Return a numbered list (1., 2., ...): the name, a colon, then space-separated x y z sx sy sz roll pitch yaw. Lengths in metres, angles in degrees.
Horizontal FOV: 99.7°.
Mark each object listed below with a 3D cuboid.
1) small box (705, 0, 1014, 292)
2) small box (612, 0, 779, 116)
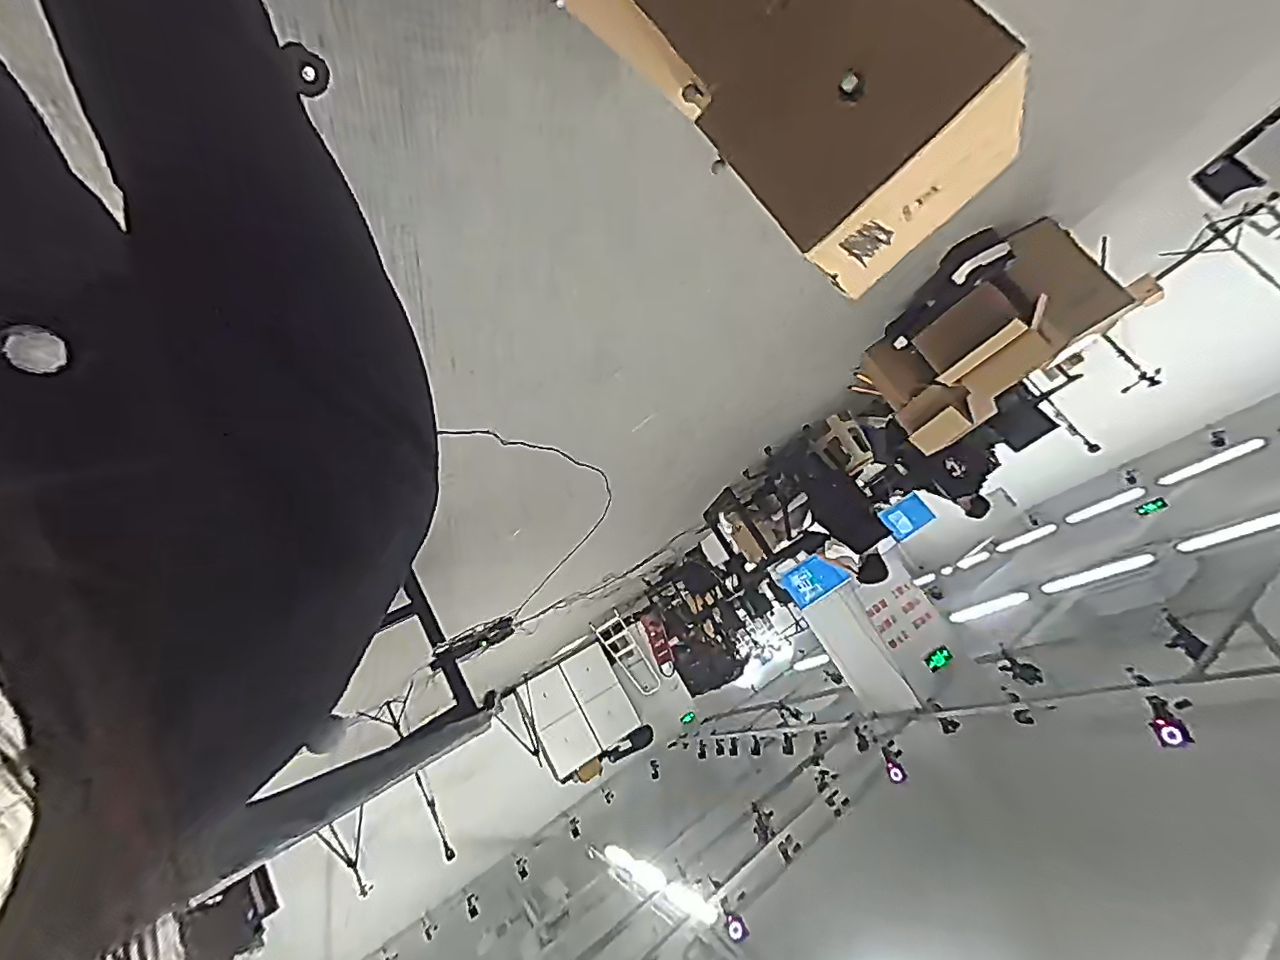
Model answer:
1. small box: 0.180 -0.300 0.469 0.179 0.176 0.168 -41 162 32
2. small box: 0.103 -0.443 0.509 0.168 0.176 0.179 -43 162 26
